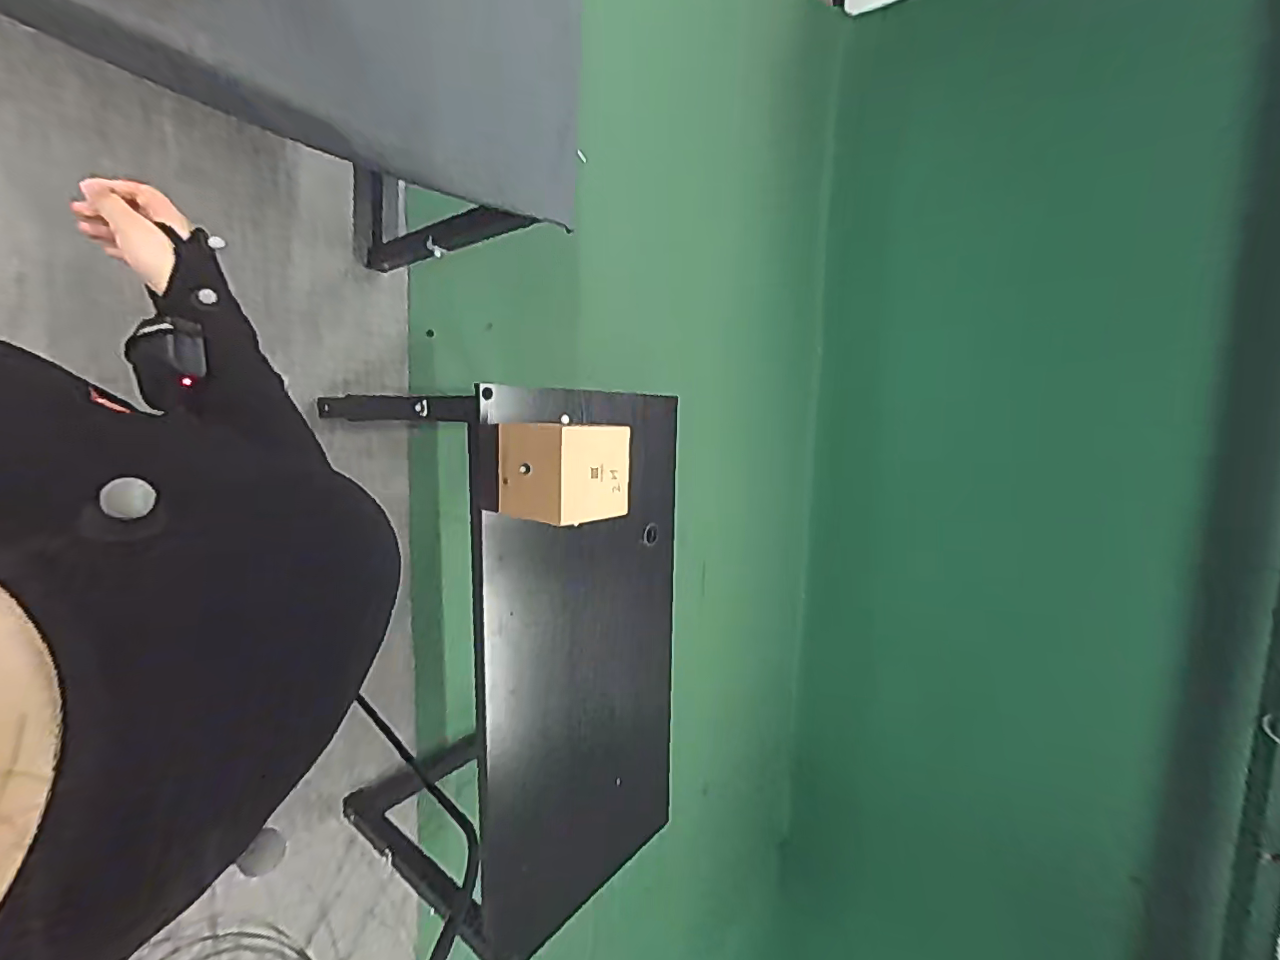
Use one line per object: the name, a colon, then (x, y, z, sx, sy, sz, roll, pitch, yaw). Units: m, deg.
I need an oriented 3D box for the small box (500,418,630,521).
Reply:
small box: (-0.139, -0.025, 0.986, 0.179, 0.176, 0.168, -6, 102, -51)
